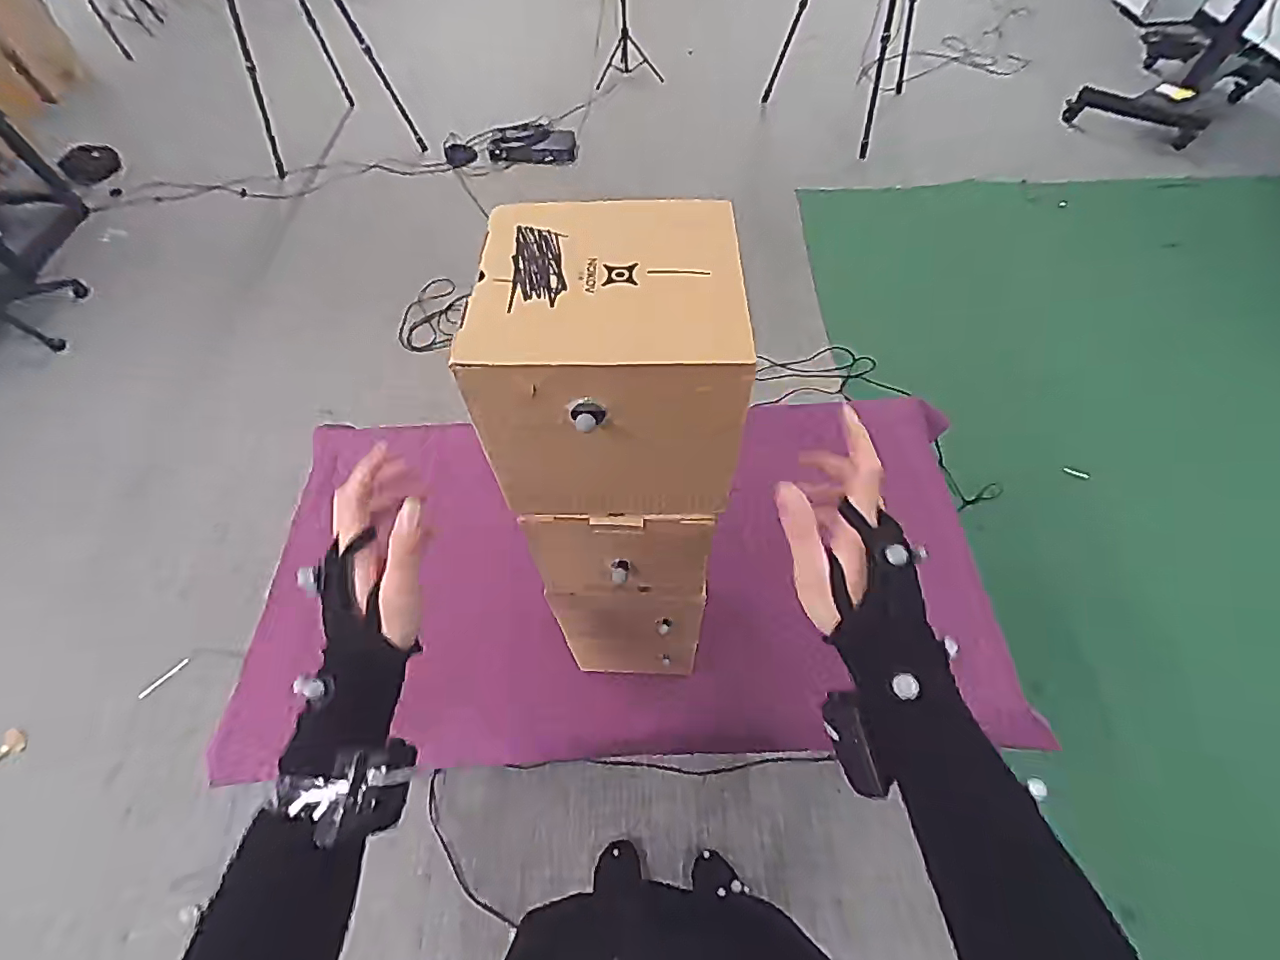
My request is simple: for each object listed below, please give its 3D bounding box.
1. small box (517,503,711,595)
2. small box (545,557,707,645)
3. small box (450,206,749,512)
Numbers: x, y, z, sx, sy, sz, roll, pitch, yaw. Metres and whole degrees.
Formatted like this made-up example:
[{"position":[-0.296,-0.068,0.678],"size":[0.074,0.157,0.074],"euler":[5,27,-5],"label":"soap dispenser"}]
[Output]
[{"position":[-0.014,0.008,0.554],"size":[0.168,0.176,0.179],"euler":[1,57,3],"label":"small box"},{"position":[-0.009,0.103,0.686],"size":[0.179,0.176,0.168],"euler":[1,57,4],"label":"small box"},{"position":[-0.020,-0.085,0.418],"size":[0.179,0.176,0.168],"euler":[0,56,1],"label":"small box"}]
